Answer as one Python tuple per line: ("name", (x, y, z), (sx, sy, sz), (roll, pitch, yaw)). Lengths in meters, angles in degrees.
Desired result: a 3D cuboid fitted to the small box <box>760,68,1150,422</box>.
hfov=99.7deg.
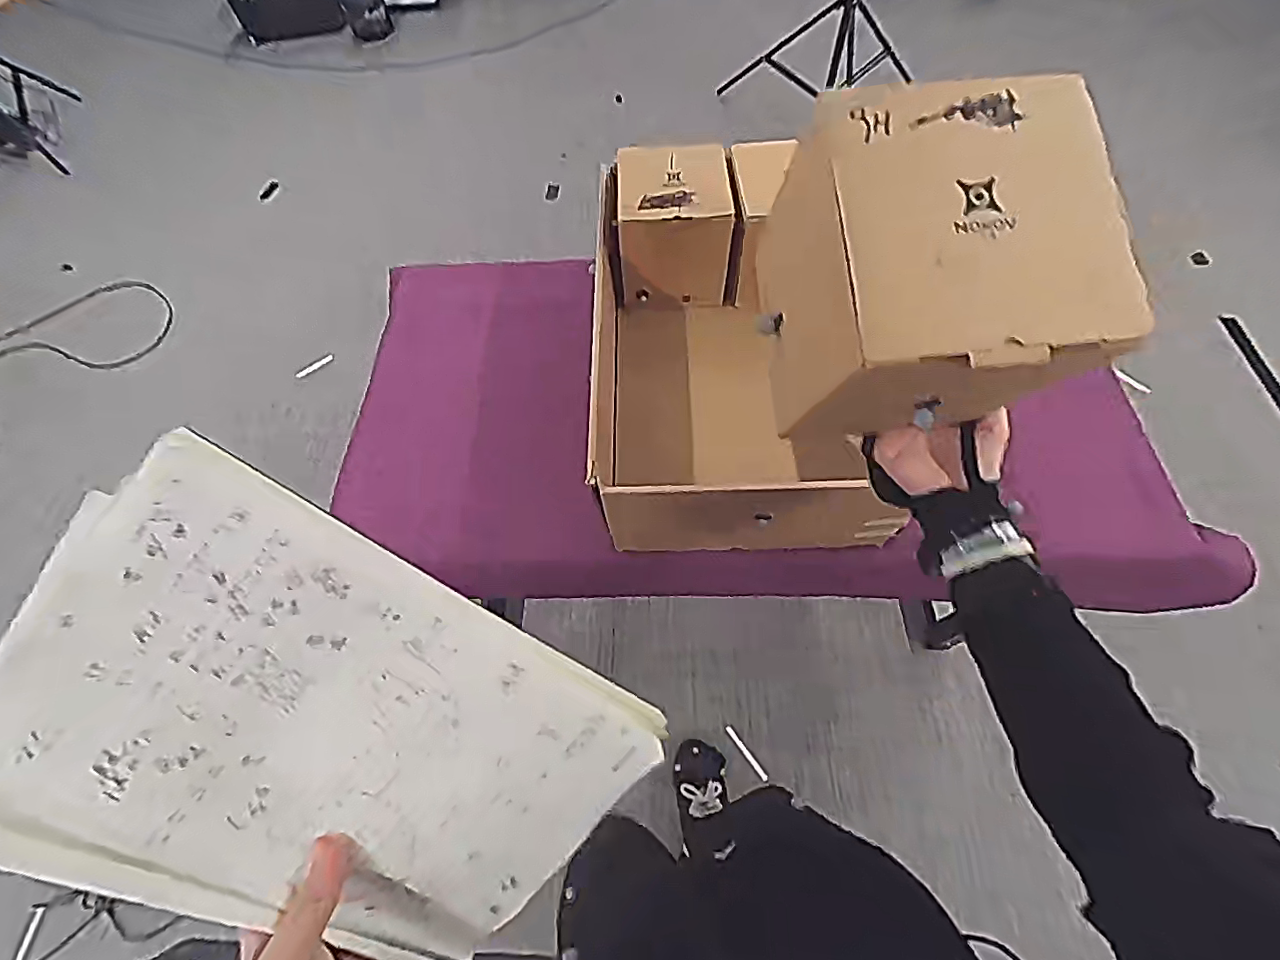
("small box", (0.193, -0.144, 0.388), (0.168, 0.176, 0.179), (-5, 81, -3))
